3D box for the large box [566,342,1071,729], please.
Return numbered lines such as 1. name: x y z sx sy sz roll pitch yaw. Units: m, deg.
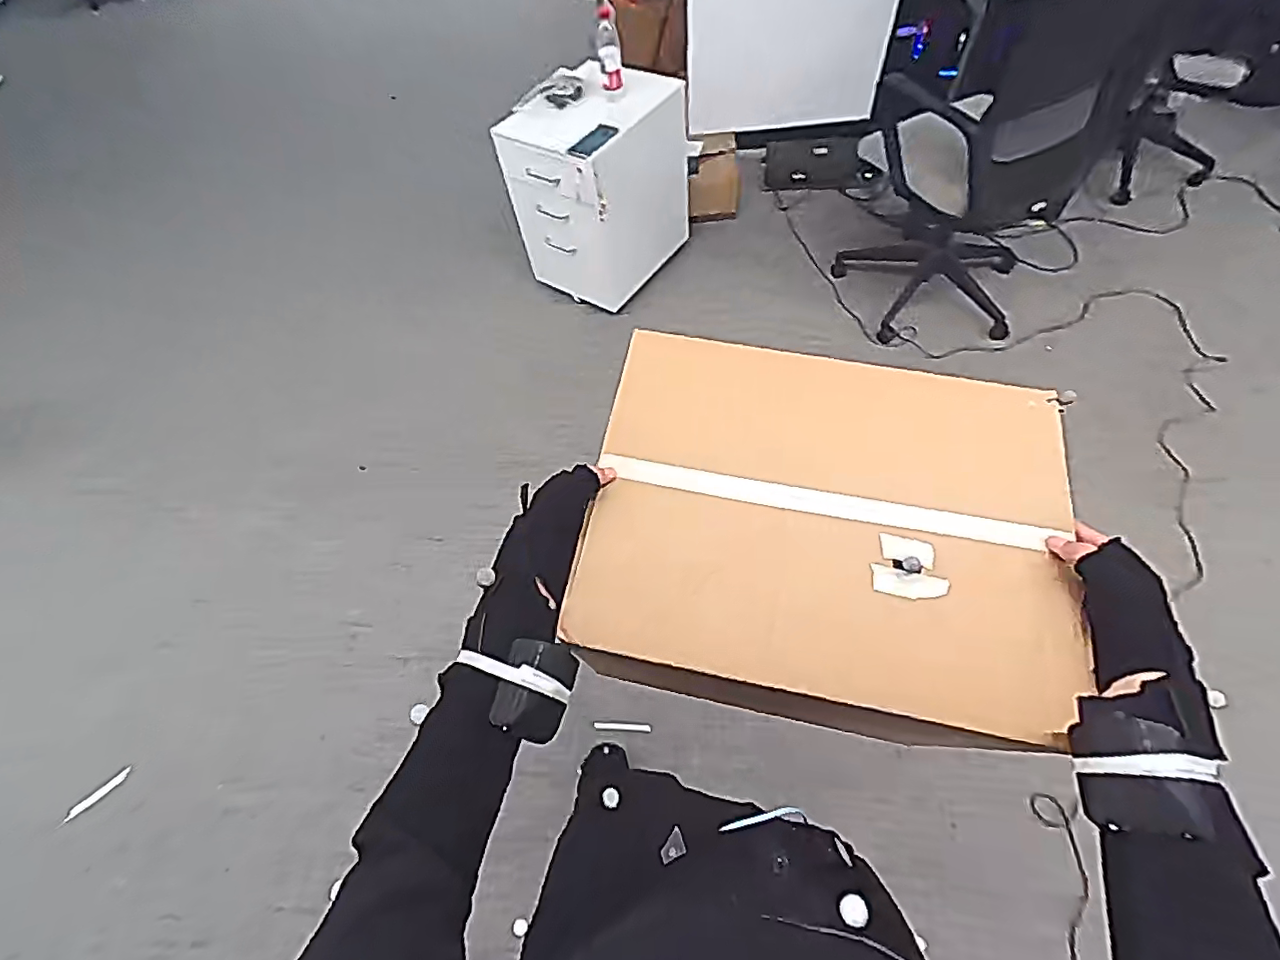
1. large box: 0.159 0.083 0.619 0.408 0.320 0.320 10 67 5
